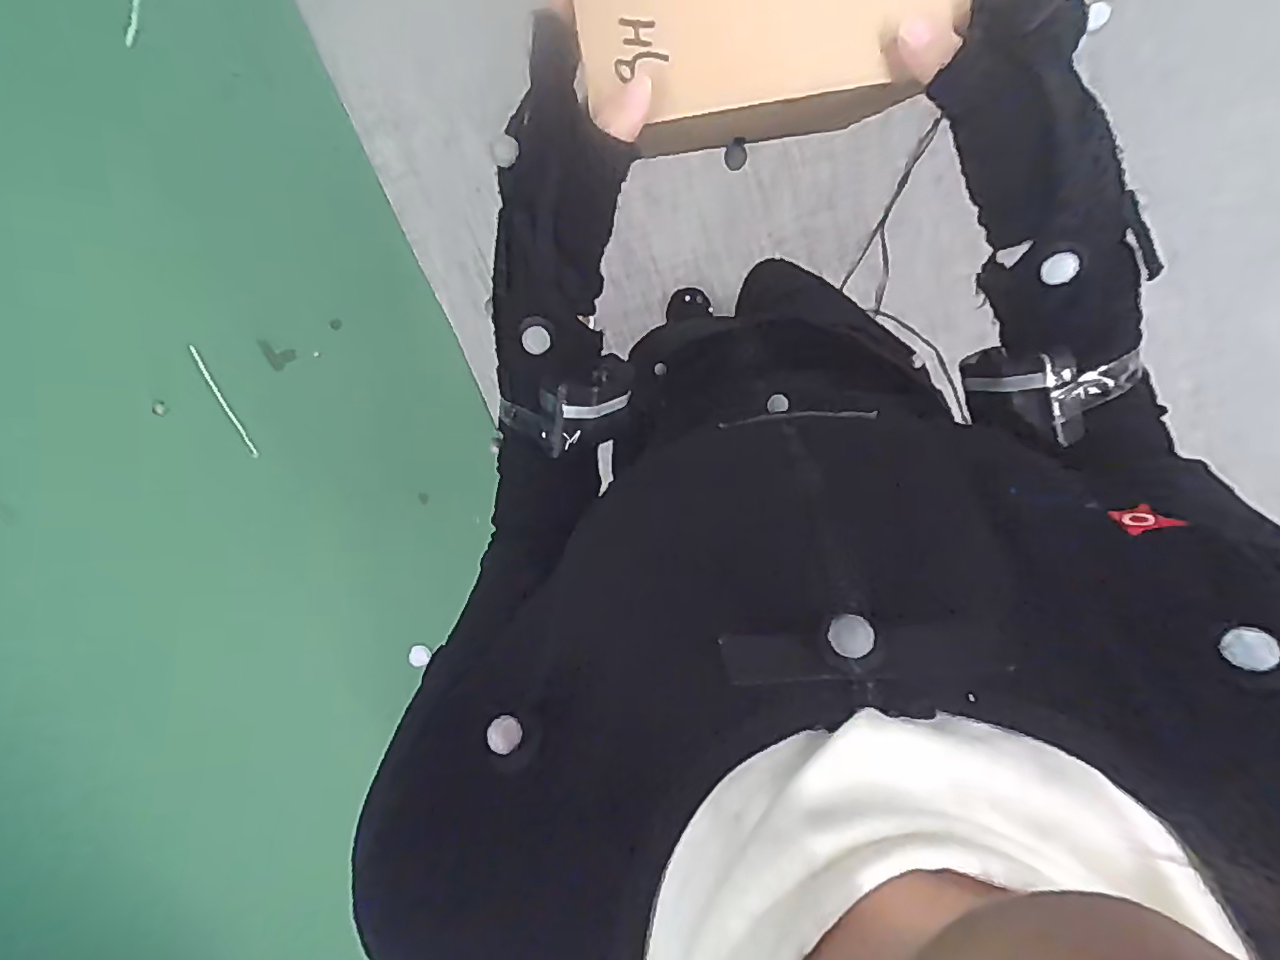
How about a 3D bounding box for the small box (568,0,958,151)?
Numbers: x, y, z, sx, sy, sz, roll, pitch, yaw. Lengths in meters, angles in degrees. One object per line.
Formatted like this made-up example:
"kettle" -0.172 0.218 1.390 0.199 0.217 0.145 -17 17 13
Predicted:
"small box" 0.048 -0.290 0.291 0.179 0.176 0.168 -7 115 3
